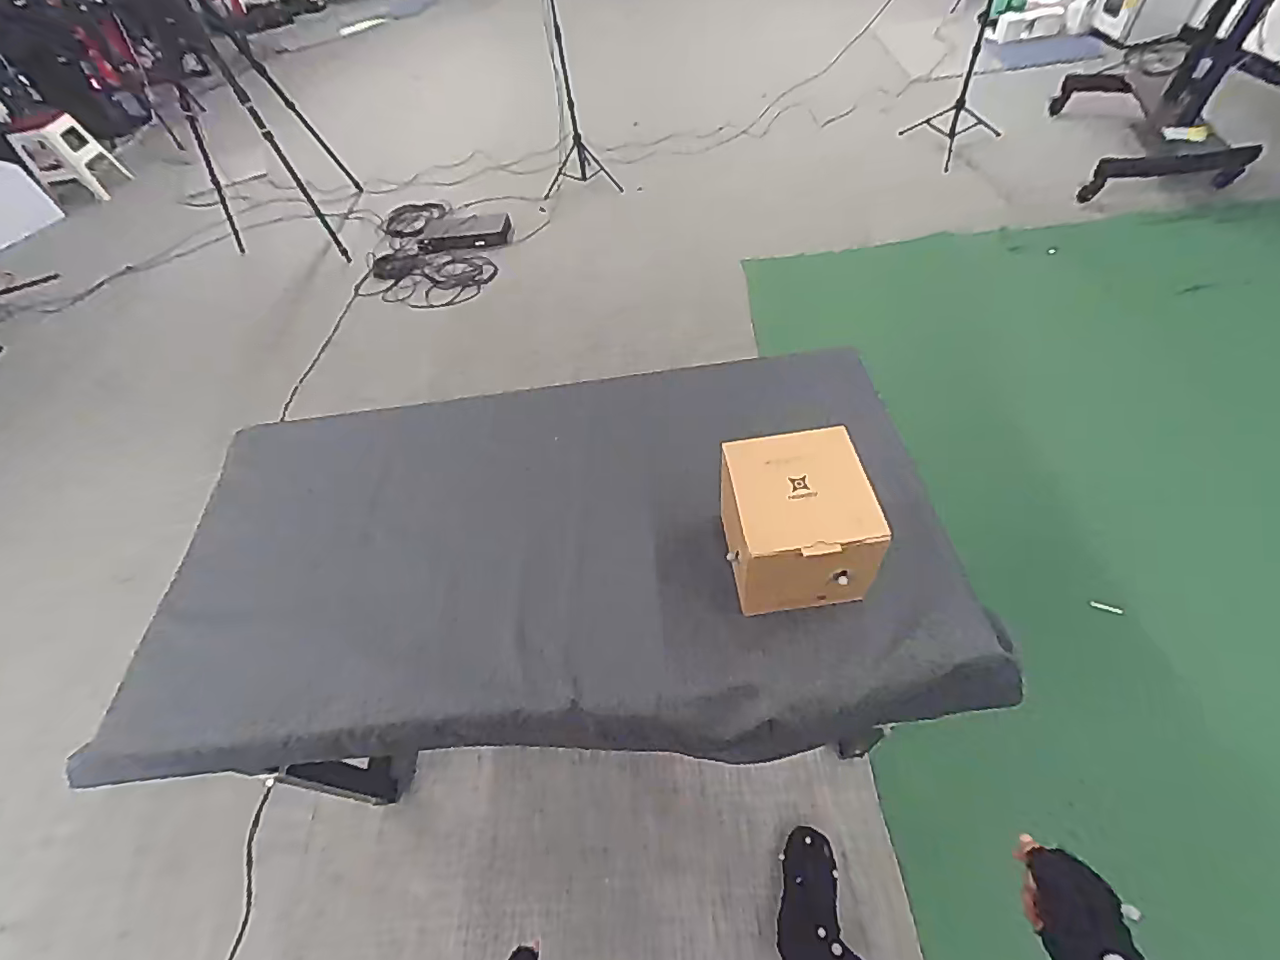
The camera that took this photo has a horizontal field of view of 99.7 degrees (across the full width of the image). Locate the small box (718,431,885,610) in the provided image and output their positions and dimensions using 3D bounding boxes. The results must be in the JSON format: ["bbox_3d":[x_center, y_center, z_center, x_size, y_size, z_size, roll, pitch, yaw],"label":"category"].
[{"bbox_3d":[0.203,0.062,0.730,0.168,0.176,0.179,-8,51,1],"label":"small box"}]
